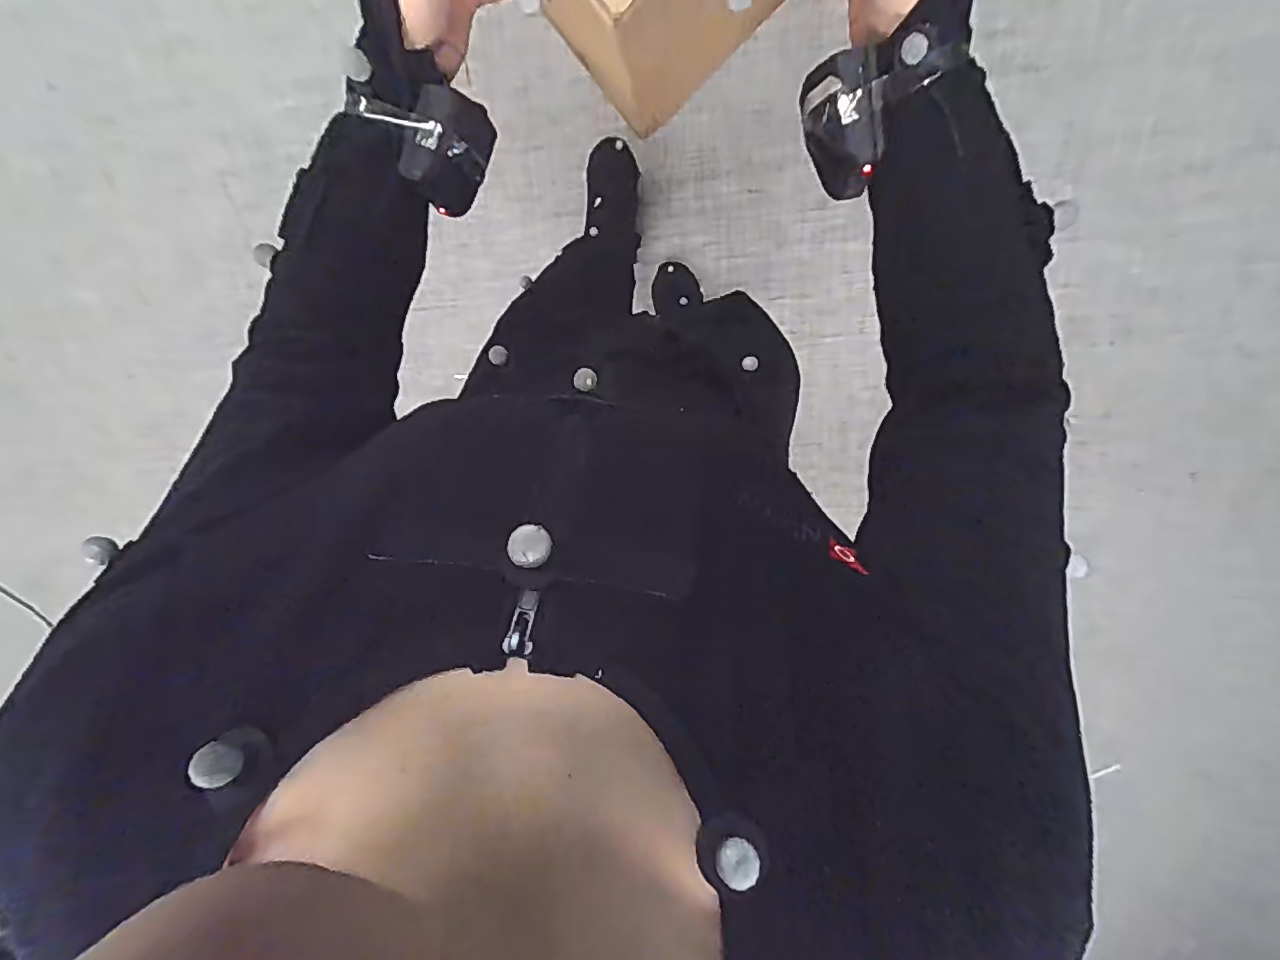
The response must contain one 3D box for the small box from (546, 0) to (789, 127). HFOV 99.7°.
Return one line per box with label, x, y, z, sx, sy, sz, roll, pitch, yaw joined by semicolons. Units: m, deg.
small box;0.010;-0.339;0.290;0.179;0.176;0.168;-38;100;16
